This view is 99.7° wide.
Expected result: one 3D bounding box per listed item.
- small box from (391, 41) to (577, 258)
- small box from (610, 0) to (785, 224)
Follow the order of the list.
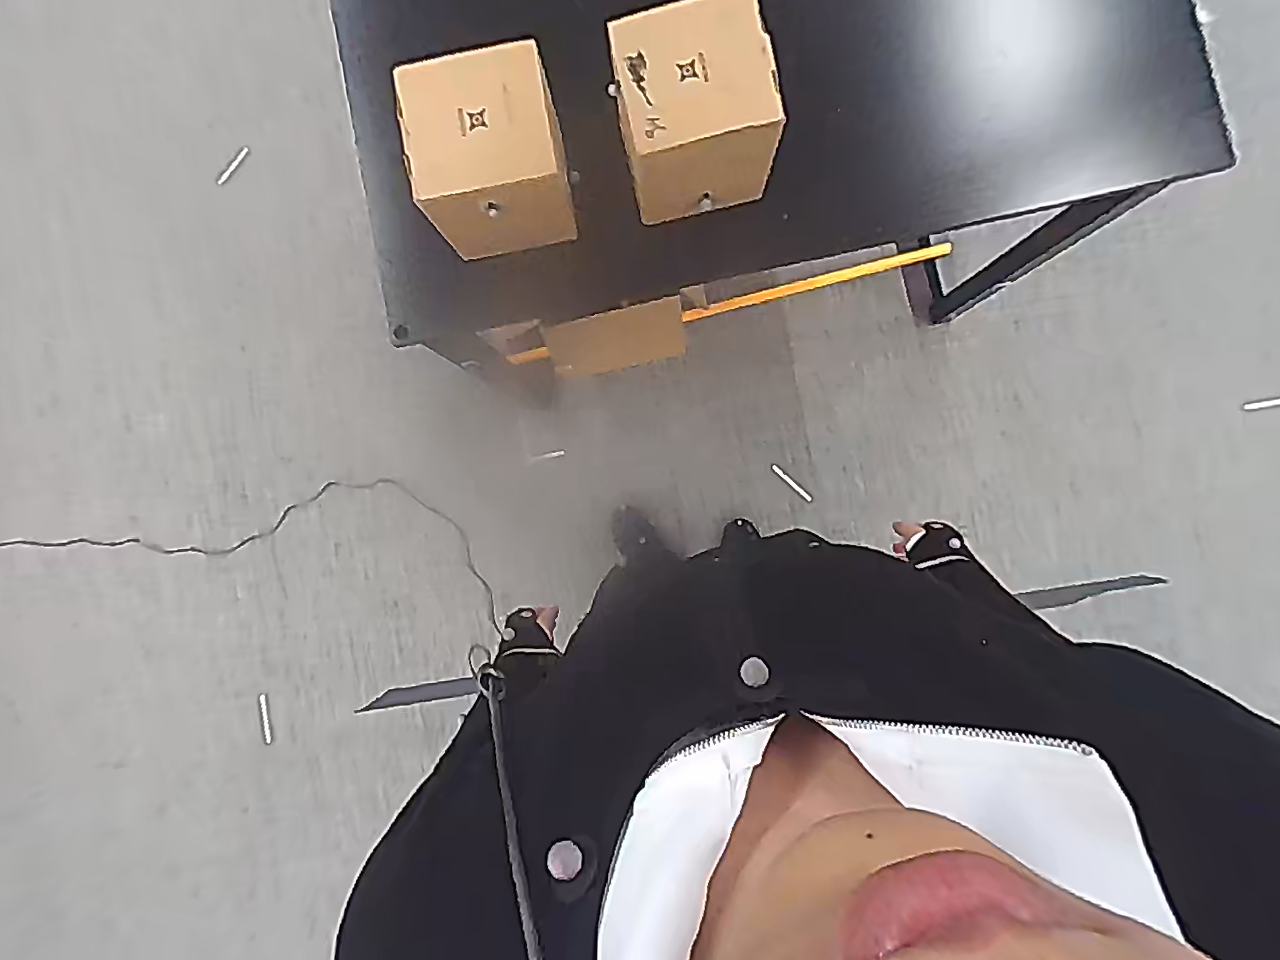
[{"bbox_3d":[-0.192,-0.415,0.711,0.179,0.176,0.168,-11,89,2],"label":"small box"},{"bbox_3d":[0.067,-0.464,0.699,0.179,0.176,0.168,-13,87,2],"label":"small box"}]
